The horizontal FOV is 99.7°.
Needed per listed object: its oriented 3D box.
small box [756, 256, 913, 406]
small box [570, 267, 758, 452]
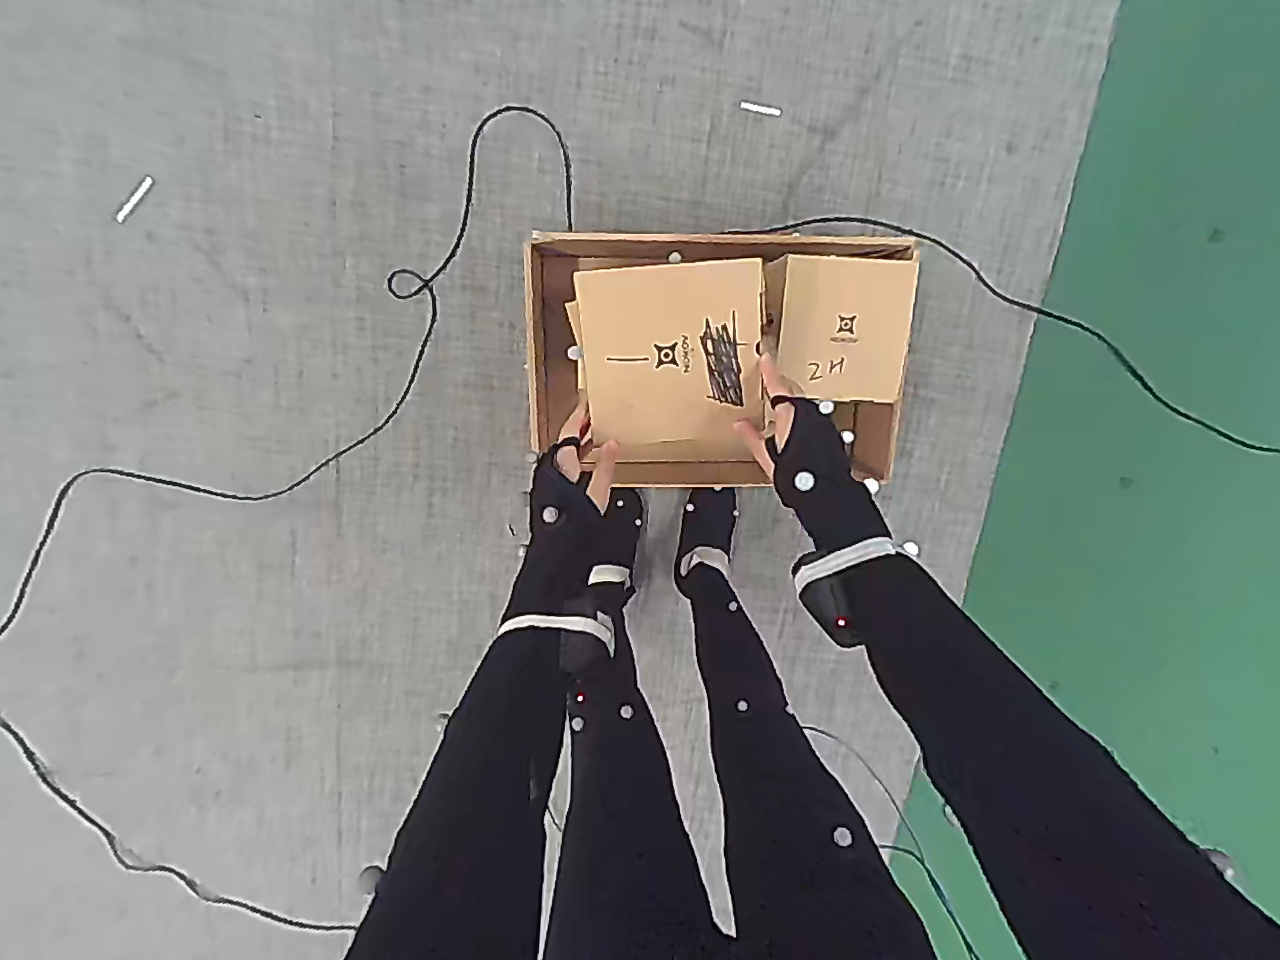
[{"bbox_3d":[0.246,-0.203,0.753,0.168,0.176,0.179,2,105,-2],"label":"small box"},{"bbox_3d":[0.019,-0.135,0.592,0.179,0.176,0.168,-6,106,-3],"label":"small box"}]
